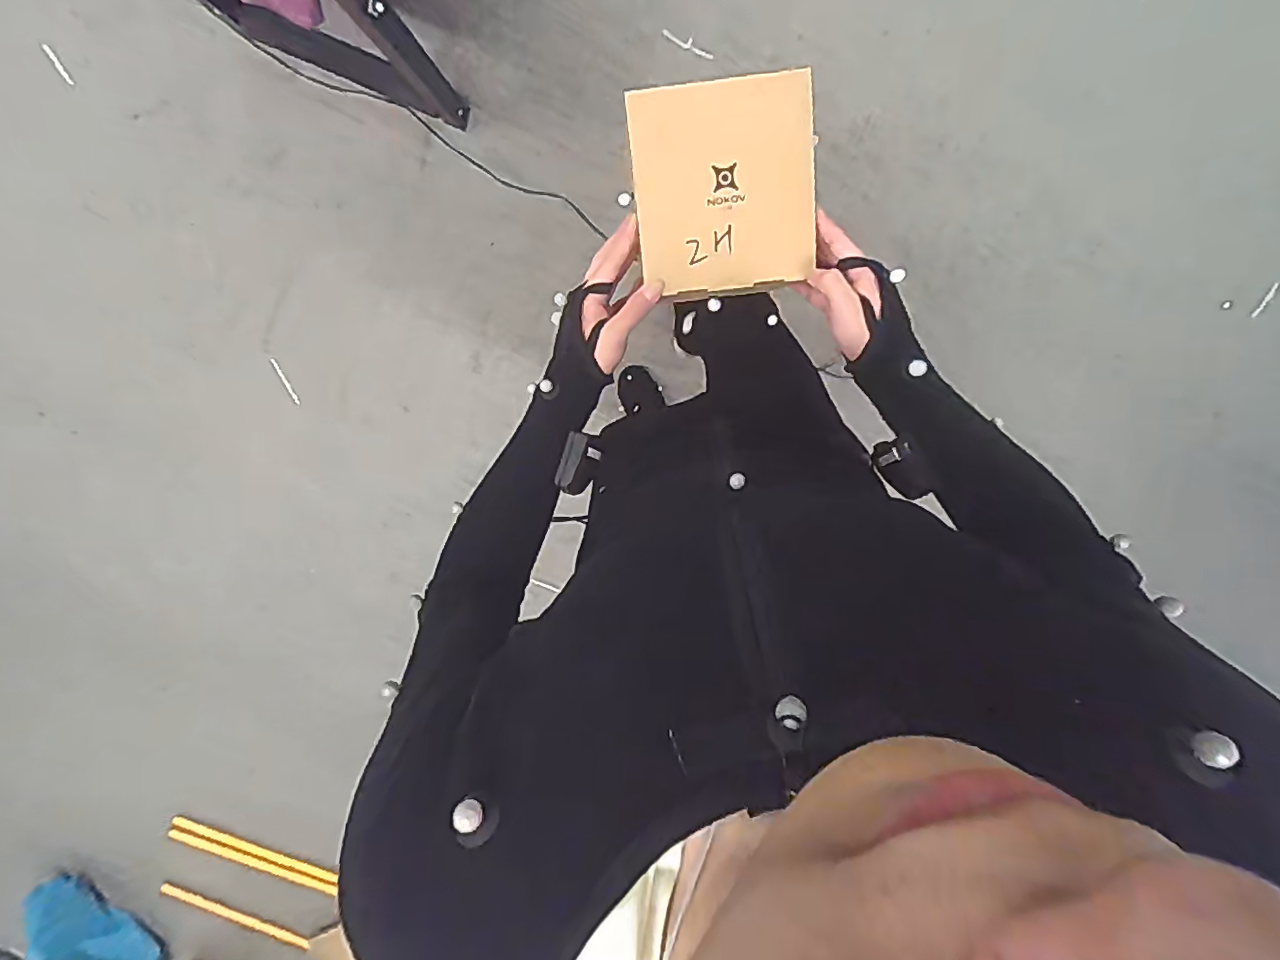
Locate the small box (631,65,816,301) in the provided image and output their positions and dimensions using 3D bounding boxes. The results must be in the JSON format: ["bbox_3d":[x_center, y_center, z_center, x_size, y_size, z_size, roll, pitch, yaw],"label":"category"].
[{"bbox_3d":[0.078,-0.292,0.570,0.168,0.176,0.179,-5,105,2],"label":"small box"}]
